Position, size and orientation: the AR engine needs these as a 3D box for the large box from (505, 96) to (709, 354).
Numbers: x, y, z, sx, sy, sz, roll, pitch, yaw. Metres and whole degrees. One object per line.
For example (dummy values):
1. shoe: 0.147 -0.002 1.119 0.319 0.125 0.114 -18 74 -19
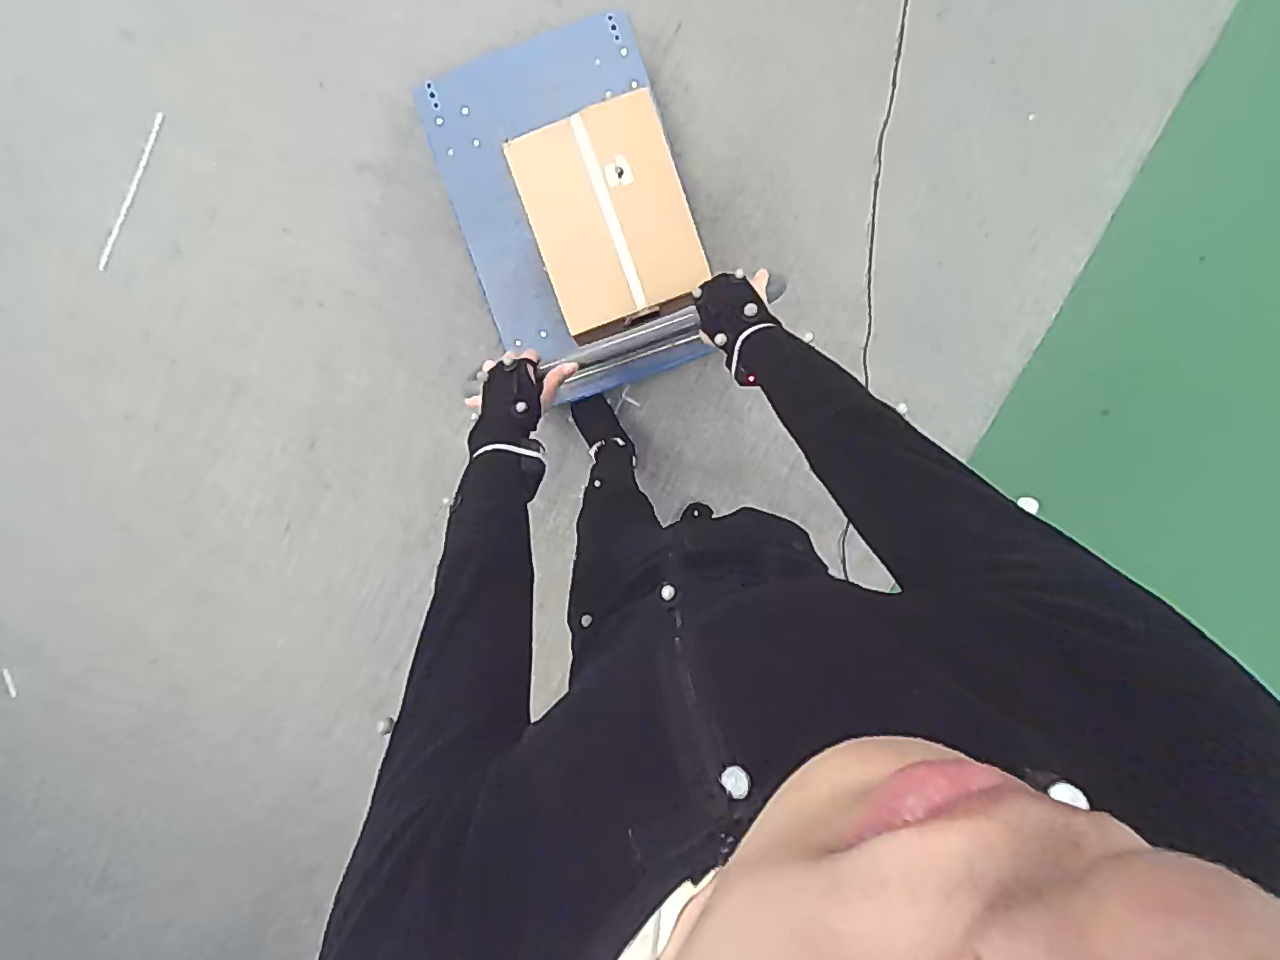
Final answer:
1. large box: -0.062 -0.553 1.258 0.320 0.320 0.408 -20 94 2
